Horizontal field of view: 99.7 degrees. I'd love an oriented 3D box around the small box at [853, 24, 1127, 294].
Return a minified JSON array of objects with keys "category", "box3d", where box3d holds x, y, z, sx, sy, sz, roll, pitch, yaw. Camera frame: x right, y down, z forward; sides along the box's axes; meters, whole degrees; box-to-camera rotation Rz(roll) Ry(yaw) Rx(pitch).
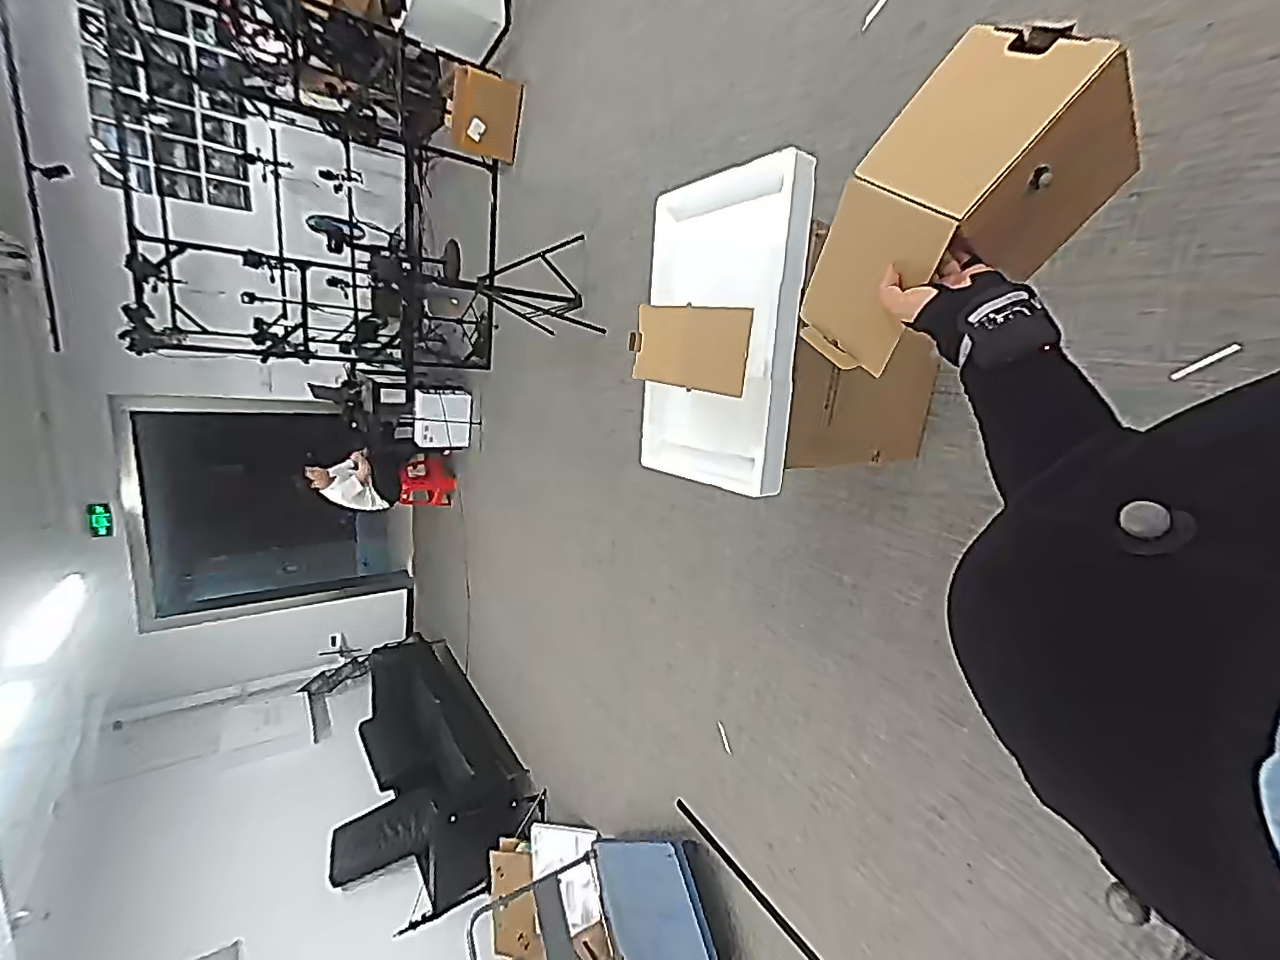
[{"category":"small box","box3d":[0.382,-0.339,0.593,0.179,0.176,0.168,-50,45,21]}]
